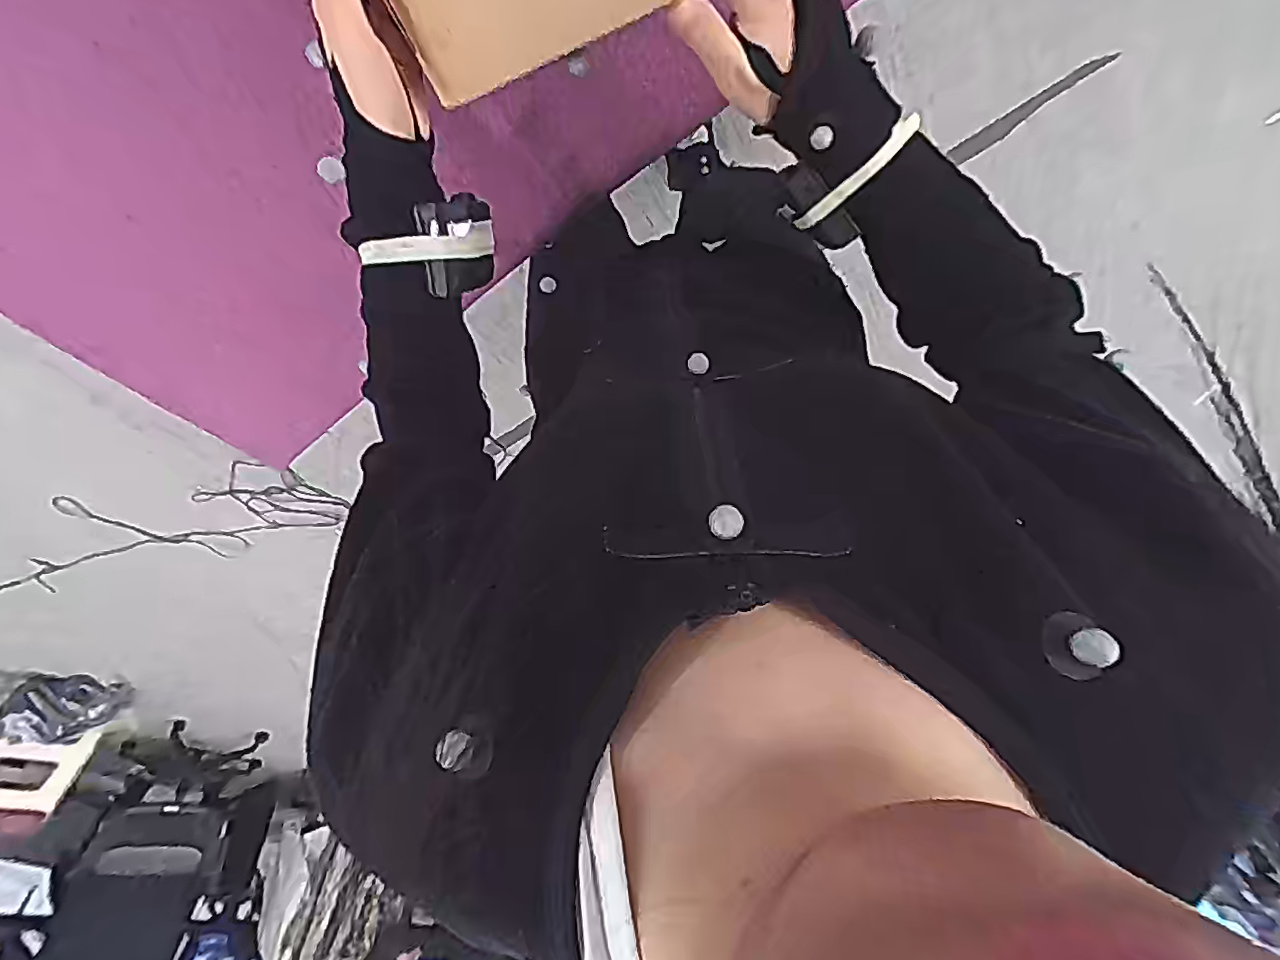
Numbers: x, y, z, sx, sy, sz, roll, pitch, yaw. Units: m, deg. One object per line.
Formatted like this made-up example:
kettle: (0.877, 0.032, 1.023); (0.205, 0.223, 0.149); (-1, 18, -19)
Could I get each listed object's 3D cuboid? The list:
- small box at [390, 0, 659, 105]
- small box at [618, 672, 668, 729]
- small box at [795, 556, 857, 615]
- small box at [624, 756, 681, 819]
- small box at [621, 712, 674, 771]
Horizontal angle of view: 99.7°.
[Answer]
small box: (-0.046, -0.339, 0.279); (0.179, 0.176, 0.168); (7, 143, 37)
small box: (0.007, 0.929, 2.276); (0.168, 0.176, 0.179); (6, 132, -15)
small box: (0.814, 0.462, 2.374); (0.168, 0.176, 0.179); (-39, 127, 23)
small box: (0.041, 1.156, 2.043); (0.168, 0.176, 0.179); (6, 133, -15)
small box: (0.025, 1.045, 2.162); (0.168, 0.176, 0.179); (6, 133, -15)
